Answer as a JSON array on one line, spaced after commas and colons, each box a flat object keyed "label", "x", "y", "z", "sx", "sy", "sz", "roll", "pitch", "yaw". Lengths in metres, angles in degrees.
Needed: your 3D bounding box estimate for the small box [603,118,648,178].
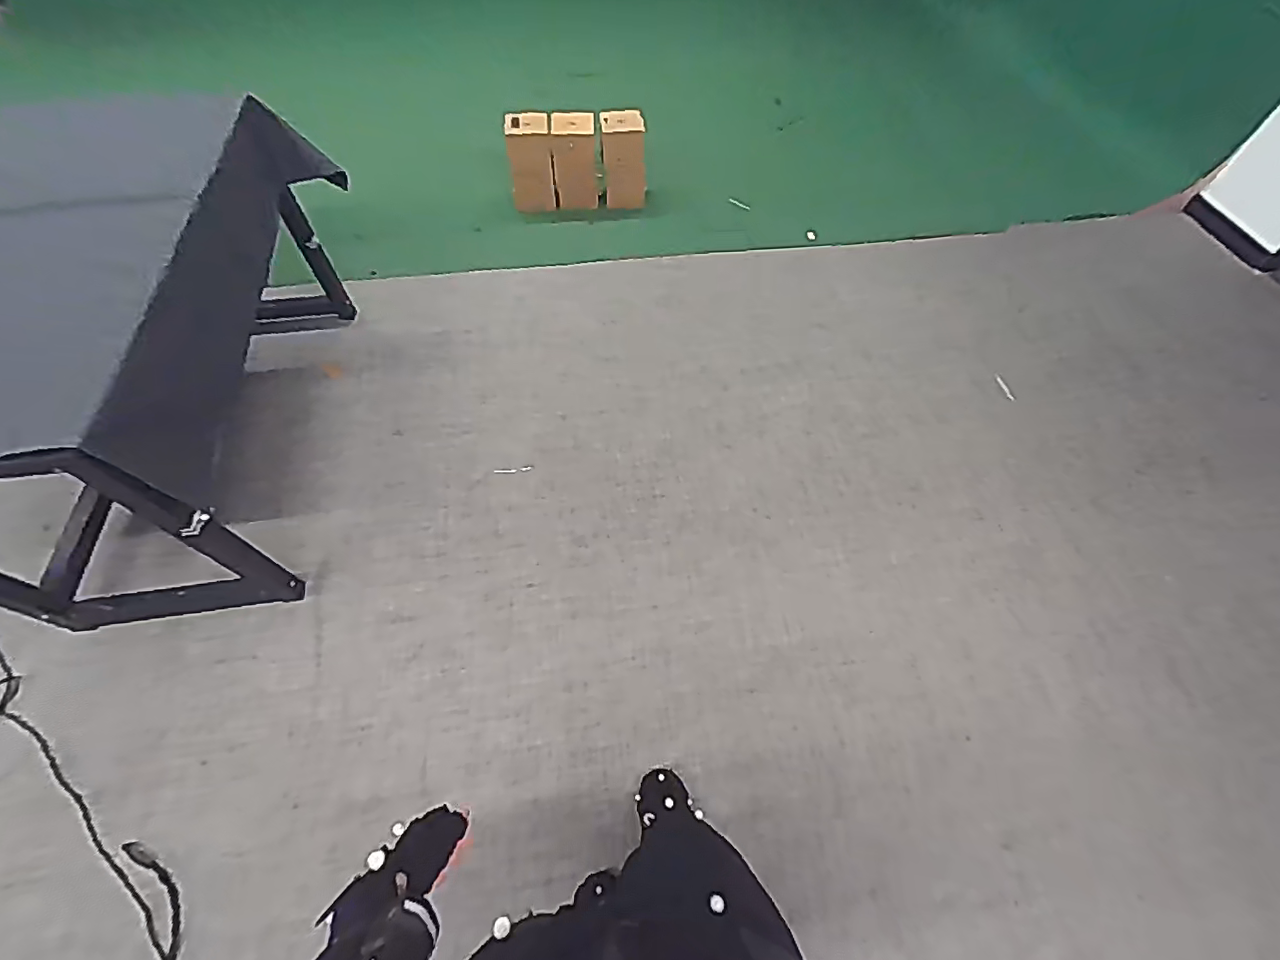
[{"label": "small box", "x": -0.067, "y": -1.417, "z": 2.311, "sx": 0.179, "sy": 0.176, "sz": 0.168, "roll": -5, "pitch": 58, "yaw": -6}]
